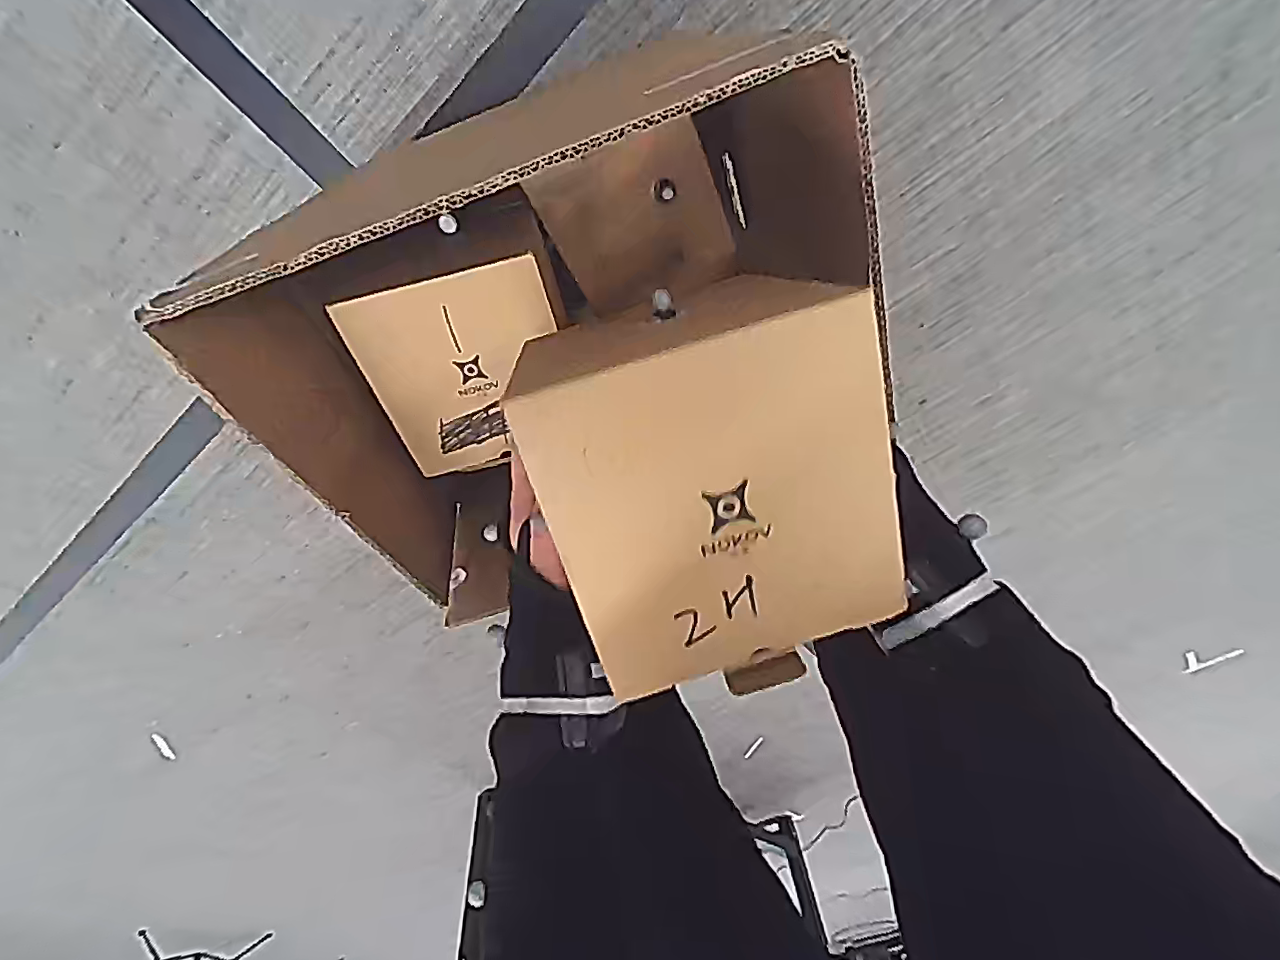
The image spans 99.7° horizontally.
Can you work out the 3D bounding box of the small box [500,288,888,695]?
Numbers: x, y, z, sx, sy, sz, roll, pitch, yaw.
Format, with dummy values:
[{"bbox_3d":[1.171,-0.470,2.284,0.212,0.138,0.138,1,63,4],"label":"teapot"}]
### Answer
[{"bbox_3d":[0.027,-0.011,0.336,0.168,0.176,0.179,-17,116,0],"label":"small box"}]
